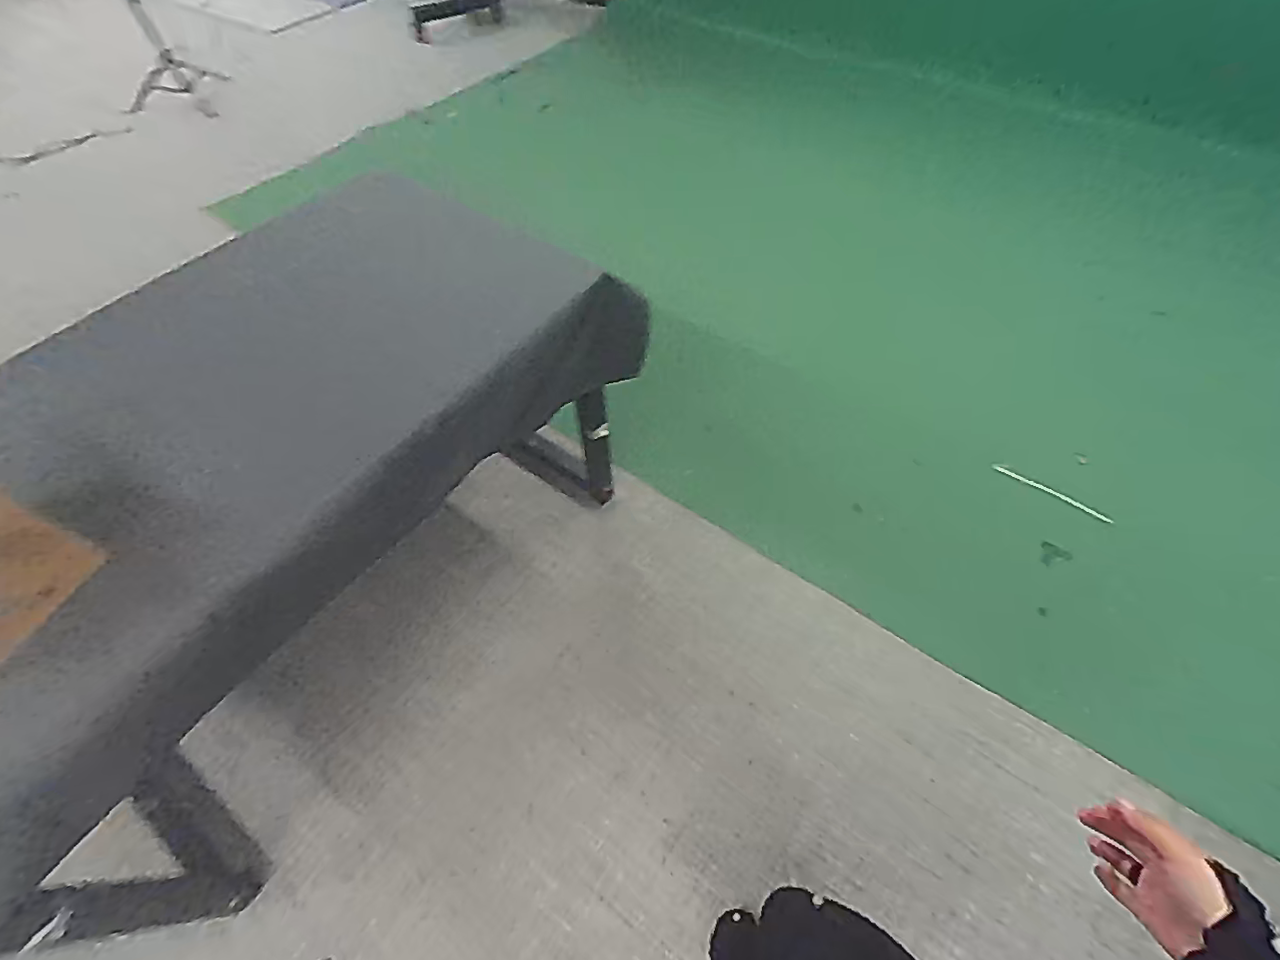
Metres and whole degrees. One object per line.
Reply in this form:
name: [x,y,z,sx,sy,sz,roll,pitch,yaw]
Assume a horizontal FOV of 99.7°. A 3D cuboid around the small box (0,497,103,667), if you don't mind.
small box: [-0.743,0.090,0.556,0.179,0.176,0.168,17,57,11]
